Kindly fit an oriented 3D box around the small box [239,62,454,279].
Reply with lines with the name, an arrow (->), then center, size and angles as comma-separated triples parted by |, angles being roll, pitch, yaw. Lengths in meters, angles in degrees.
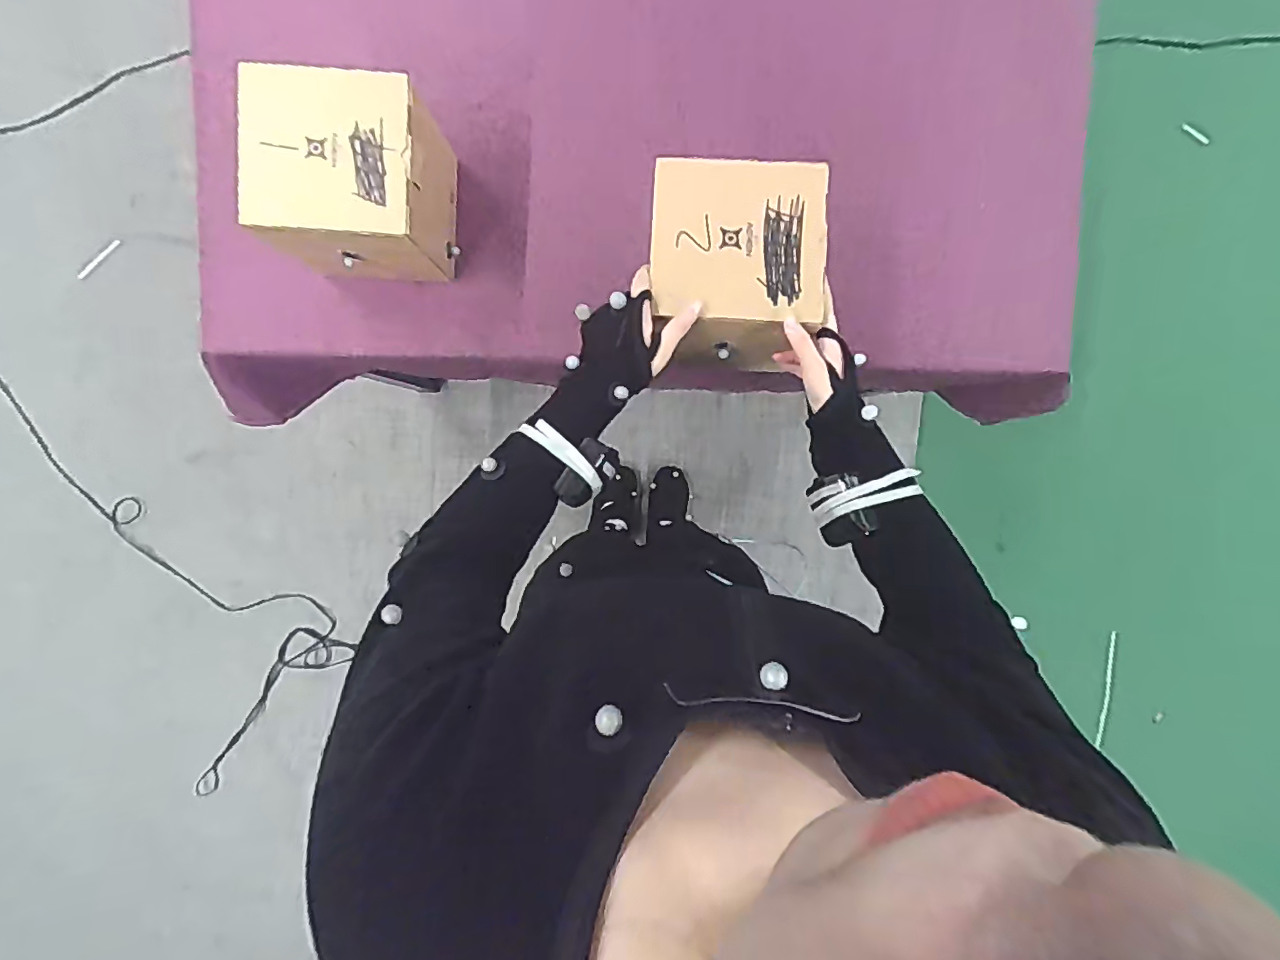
small box -> -0.331, -0.348, 0.643 | 0.179, 0.176, 0.168 | 3, 93, -2
